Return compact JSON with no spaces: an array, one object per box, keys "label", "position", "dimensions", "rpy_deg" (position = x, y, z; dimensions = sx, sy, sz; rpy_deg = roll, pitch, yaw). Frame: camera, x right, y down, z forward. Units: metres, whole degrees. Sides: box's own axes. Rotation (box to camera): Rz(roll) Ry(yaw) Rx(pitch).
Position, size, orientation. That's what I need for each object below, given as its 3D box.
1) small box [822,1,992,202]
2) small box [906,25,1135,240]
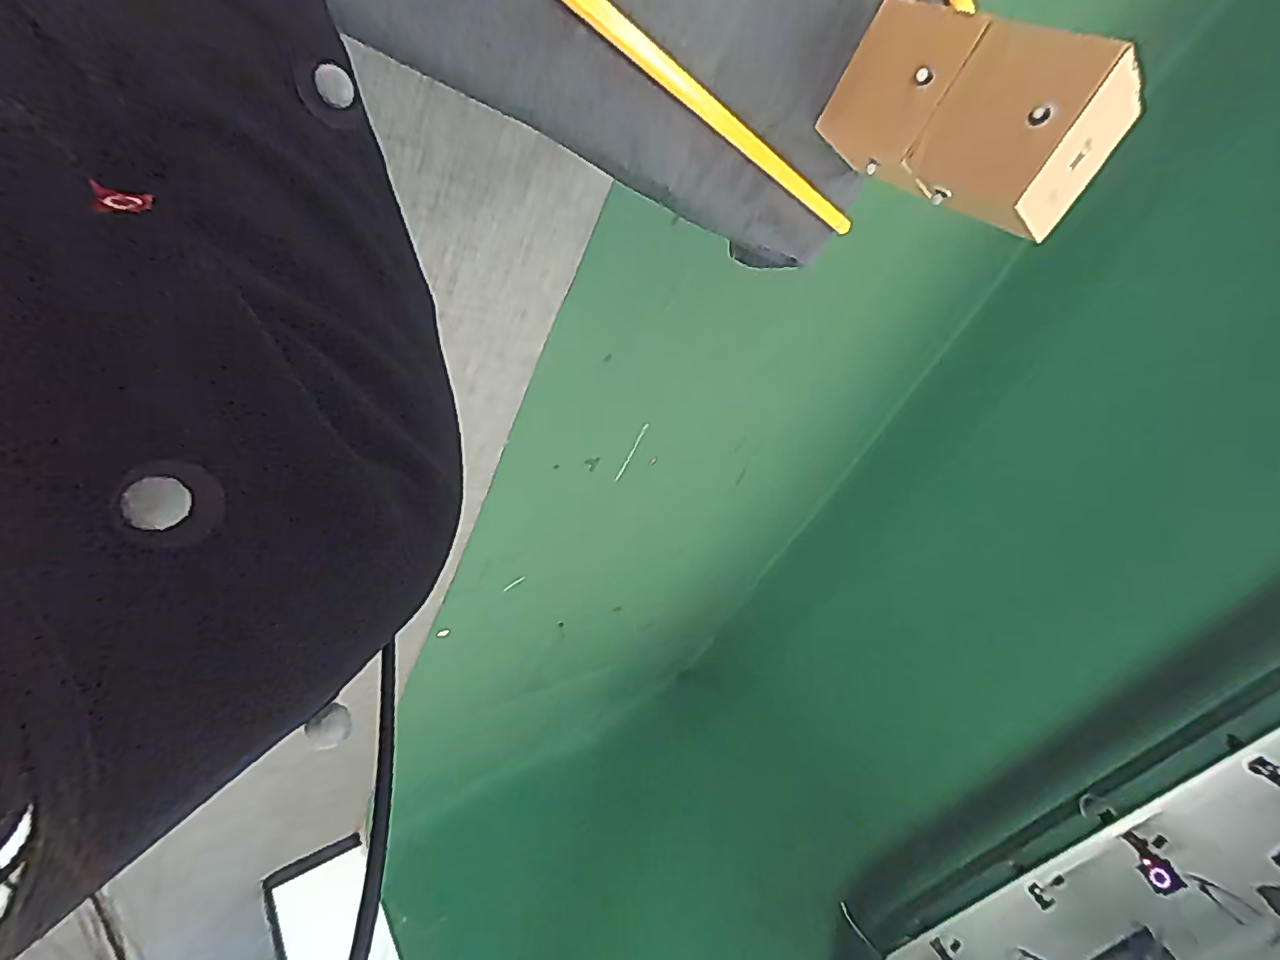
[{"label":"small box","position":[0.398,-0.555,0.802],"dimensions":[0.168,0.176,0.179],"rpy_deg":[-1,128,-47]},{"label":"small box","position":[0.497,-0.457,0.719],"dimensions":[0.168,0.176,0.179],"rpy_deg":[-2,130,-45]}]
